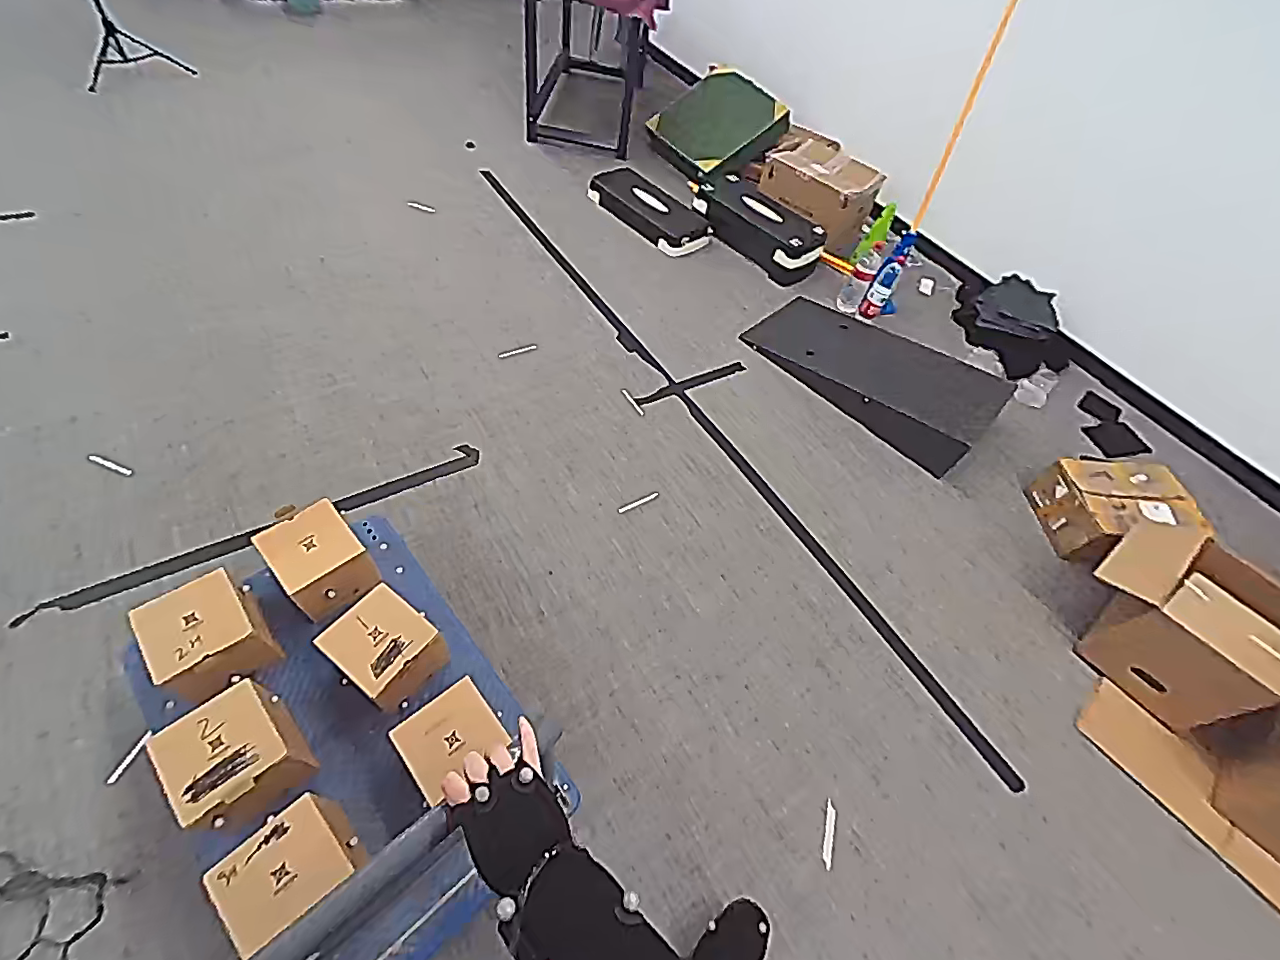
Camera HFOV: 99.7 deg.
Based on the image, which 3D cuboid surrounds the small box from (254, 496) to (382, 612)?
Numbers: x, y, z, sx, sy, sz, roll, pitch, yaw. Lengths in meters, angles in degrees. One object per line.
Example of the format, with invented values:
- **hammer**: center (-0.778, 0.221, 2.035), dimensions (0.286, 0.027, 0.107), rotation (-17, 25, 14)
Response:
- **small box**: center (-0.719, 0.176, 1.226), dimensions (0.168, 0.176, 0.179), rotation (-36, 68, -29)

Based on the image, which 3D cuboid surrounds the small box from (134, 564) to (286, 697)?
- **small box**: center (-0.865, 0.311, 1.102), dimensions (0.168, 0.176, 0.179), rotation (-31, 67, -28)

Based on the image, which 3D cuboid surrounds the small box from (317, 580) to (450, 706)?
- **small box**: center (-0.527, 0.350, 1.140), dimensions (0.179, 0.176, 0.168), rotation (35, 56, 15)

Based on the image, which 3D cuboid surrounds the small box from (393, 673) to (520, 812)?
- **small box**: center (-0.349, 0.517, 1.058), dimensions (0.168, 0.176, 0.179), rotation (-32, 66, -29)

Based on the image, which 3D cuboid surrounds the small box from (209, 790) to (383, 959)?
- **small box**: center (-0.565, 0.662, 0.914), dimensions (0.179, 0.176, 0.168), rotation (43, 58, 18)
